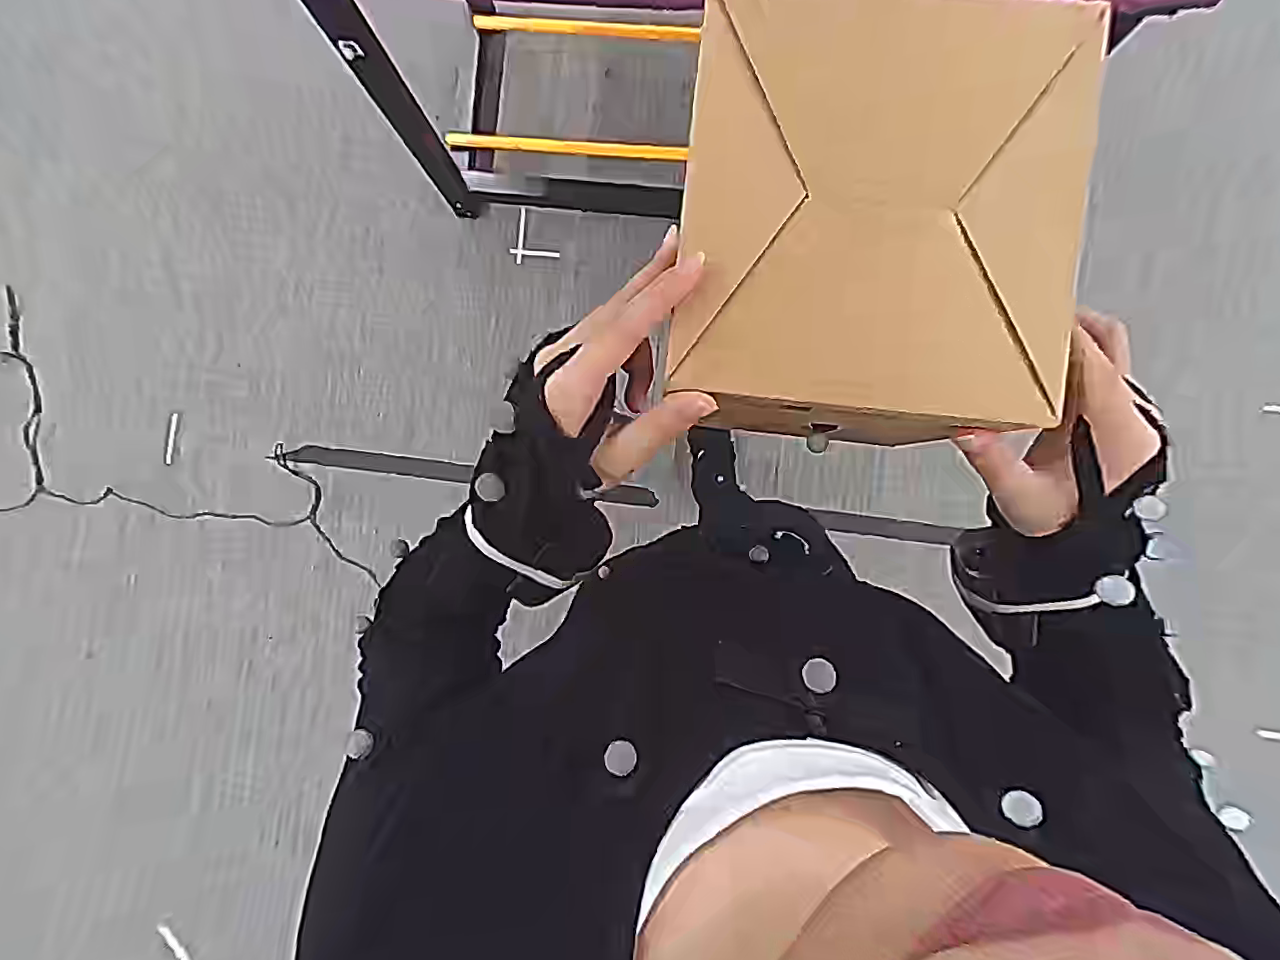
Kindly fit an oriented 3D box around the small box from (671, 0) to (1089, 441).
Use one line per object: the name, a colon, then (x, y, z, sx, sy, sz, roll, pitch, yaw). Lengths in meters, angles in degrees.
small box: (0.107, -0.122, 0.311, 0.168, 0.176, 0.179, 6, 92, 2)
